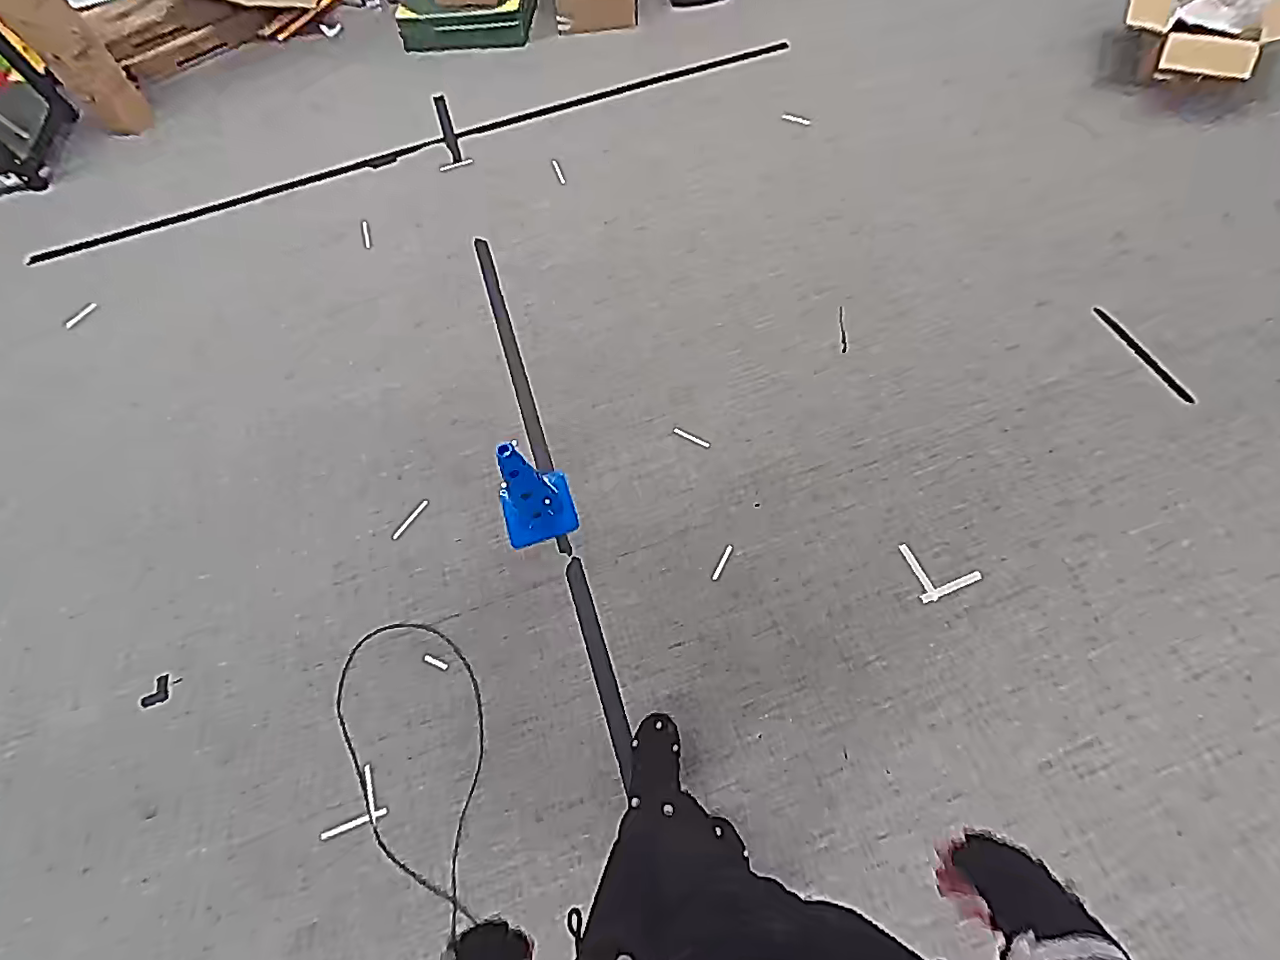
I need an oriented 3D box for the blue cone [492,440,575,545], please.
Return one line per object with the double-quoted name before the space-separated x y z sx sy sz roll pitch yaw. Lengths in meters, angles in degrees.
"blue cone" -0.301 0.011 1.384 0.193 0.380 0.192 -20 65 -5
